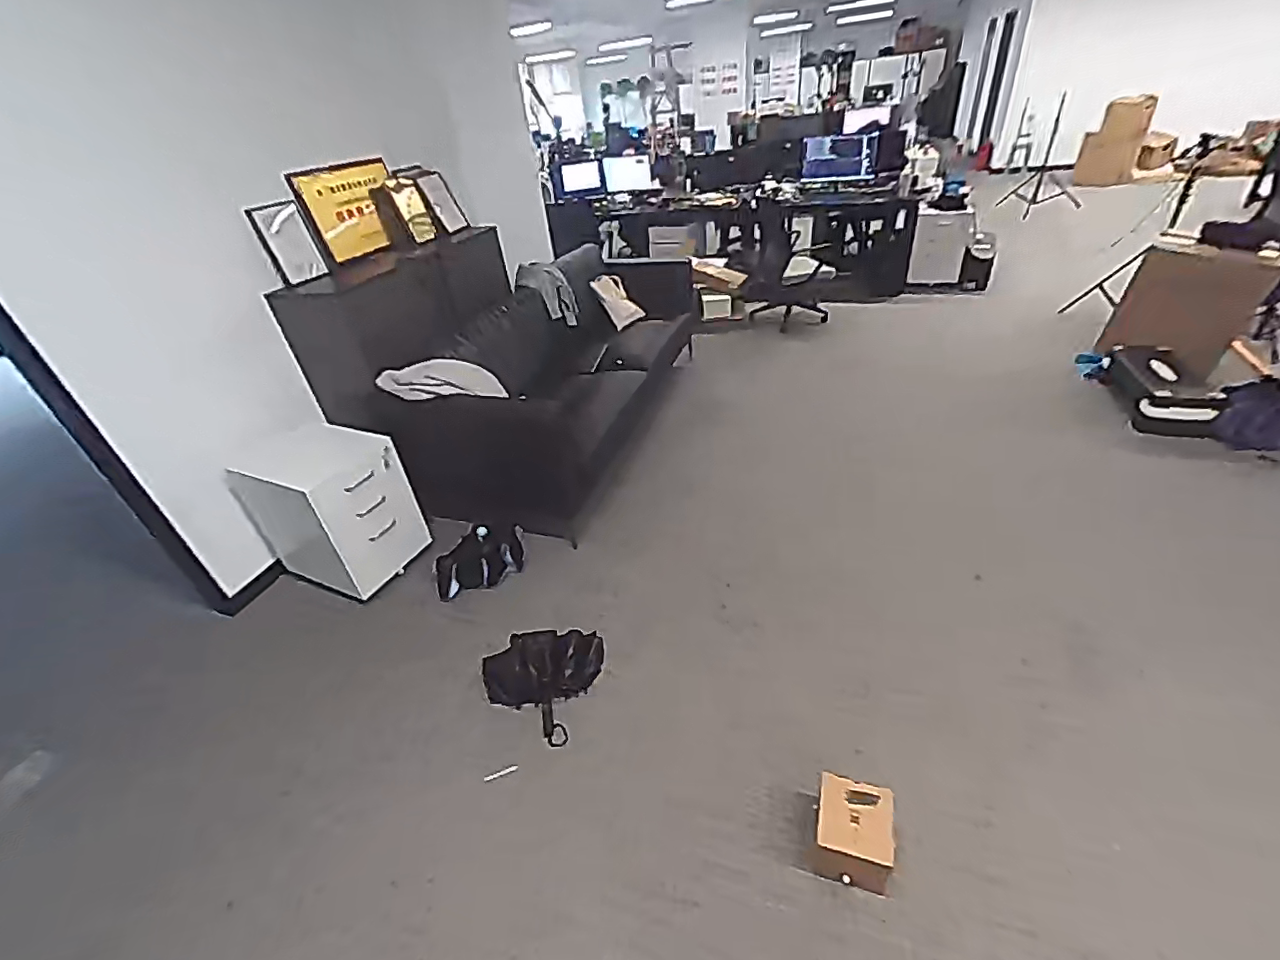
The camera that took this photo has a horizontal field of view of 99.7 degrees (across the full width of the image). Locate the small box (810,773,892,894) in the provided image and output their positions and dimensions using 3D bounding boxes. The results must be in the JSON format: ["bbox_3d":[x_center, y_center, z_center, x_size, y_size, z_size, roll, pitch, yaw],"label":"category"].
[{"bbox_3d":[0.514,0.863,1.324,0.168,0.176,0.179,7,39,19],"label":"small box"}]
